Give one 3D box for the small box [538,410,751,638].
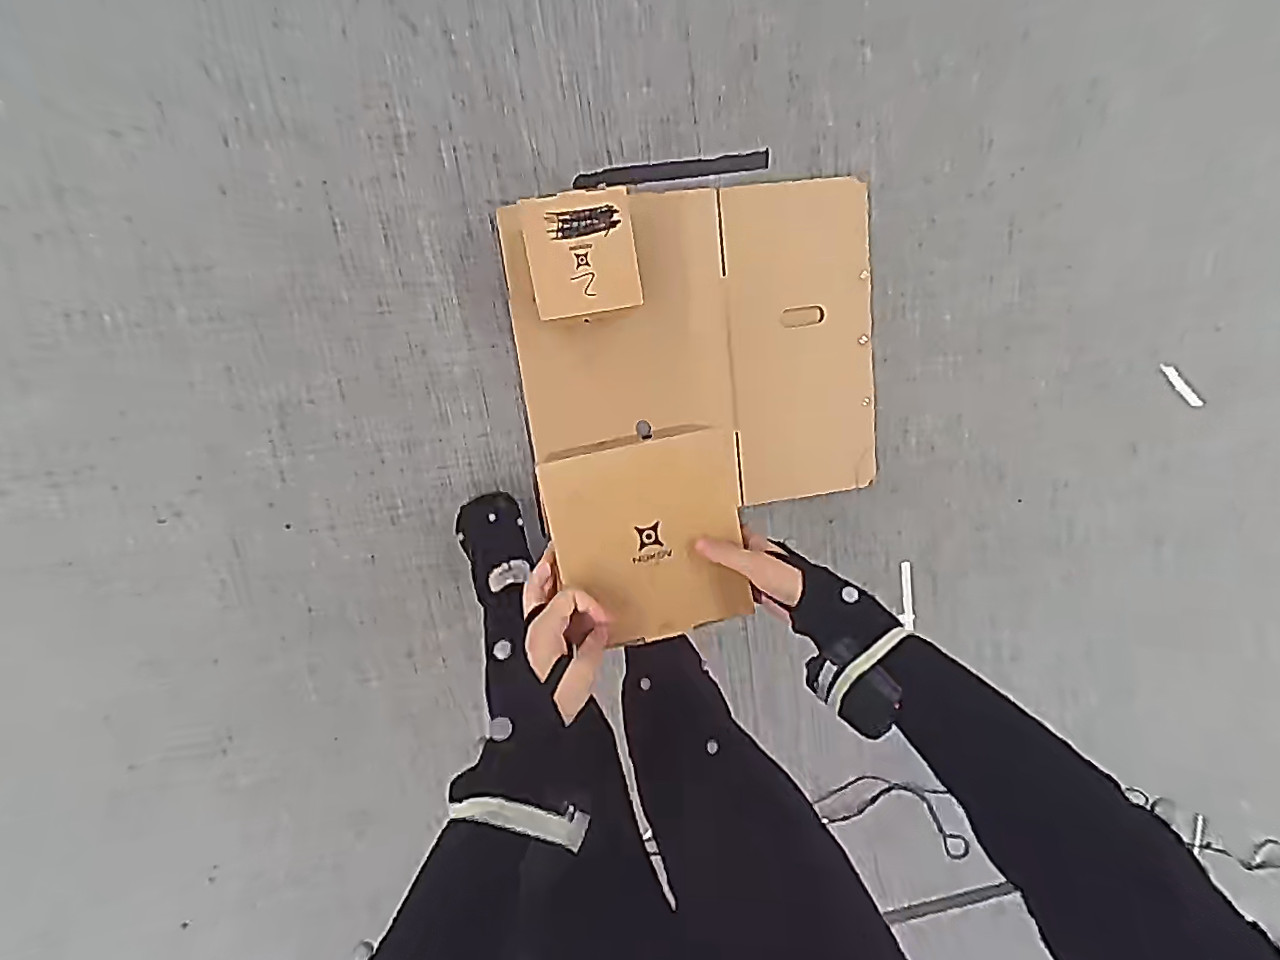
[{"bbox_3d":[-0.003,0.031,0.552,0.168,0.176,0.179,-12,98,-5],"label":"small box"}]
